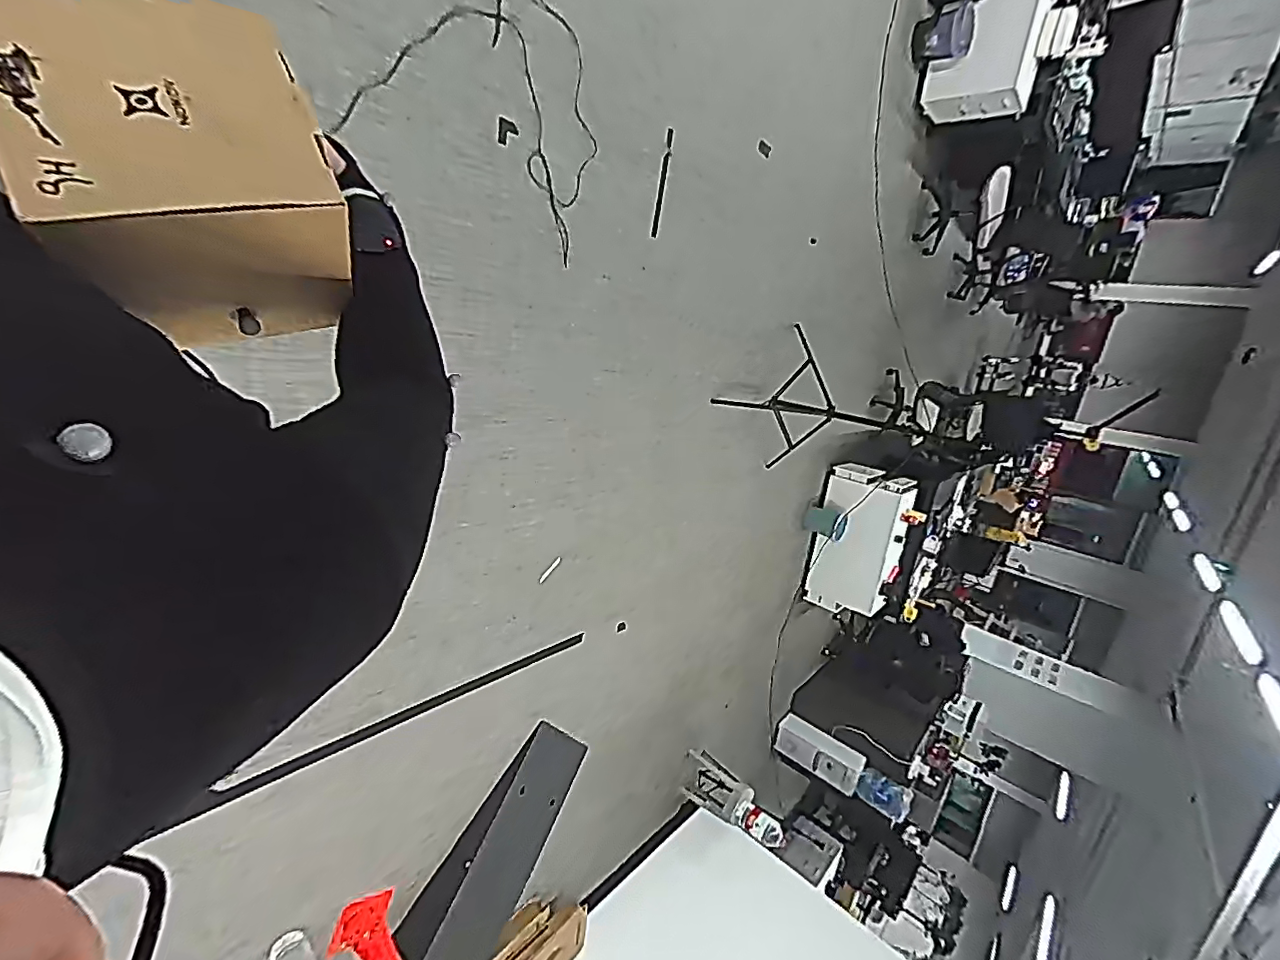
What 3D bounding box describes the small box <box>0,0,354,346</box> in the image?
[{"bbox_3d":[-0.355,-0.233,0.443,0.179,0.176,0.168,-22,84,-30],"label":"small box"}]
